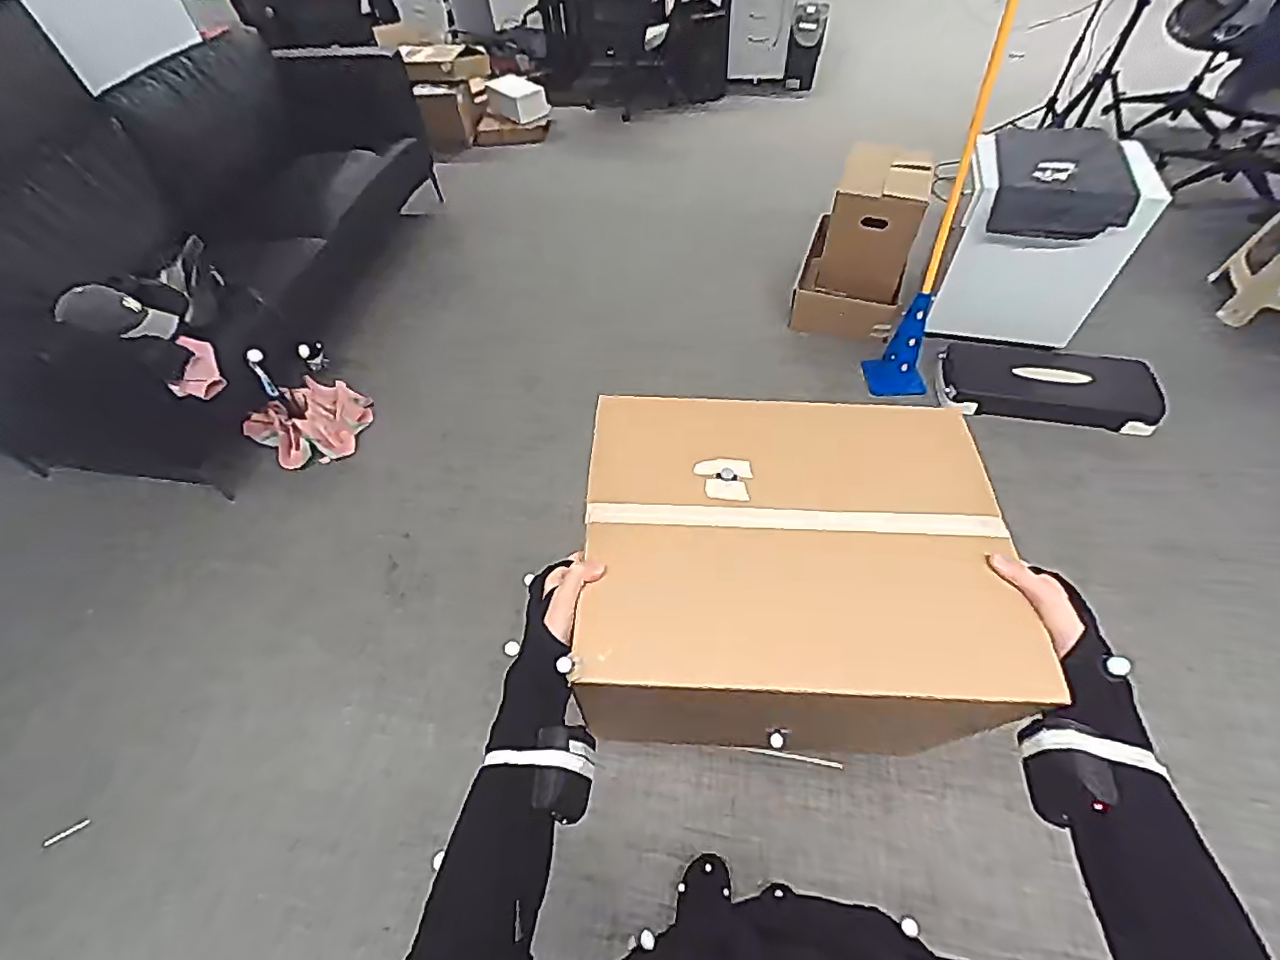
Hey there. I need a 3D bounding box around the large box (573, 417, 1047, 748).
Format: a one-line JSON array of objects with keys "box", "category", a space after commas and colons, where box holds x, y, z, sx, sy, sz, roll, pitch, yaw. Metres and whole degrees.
[{"box": [0.148, 0.138, 0.655, 0.408, 0.320, 0.320, 1, 56, 2], "category": "large box"}]
